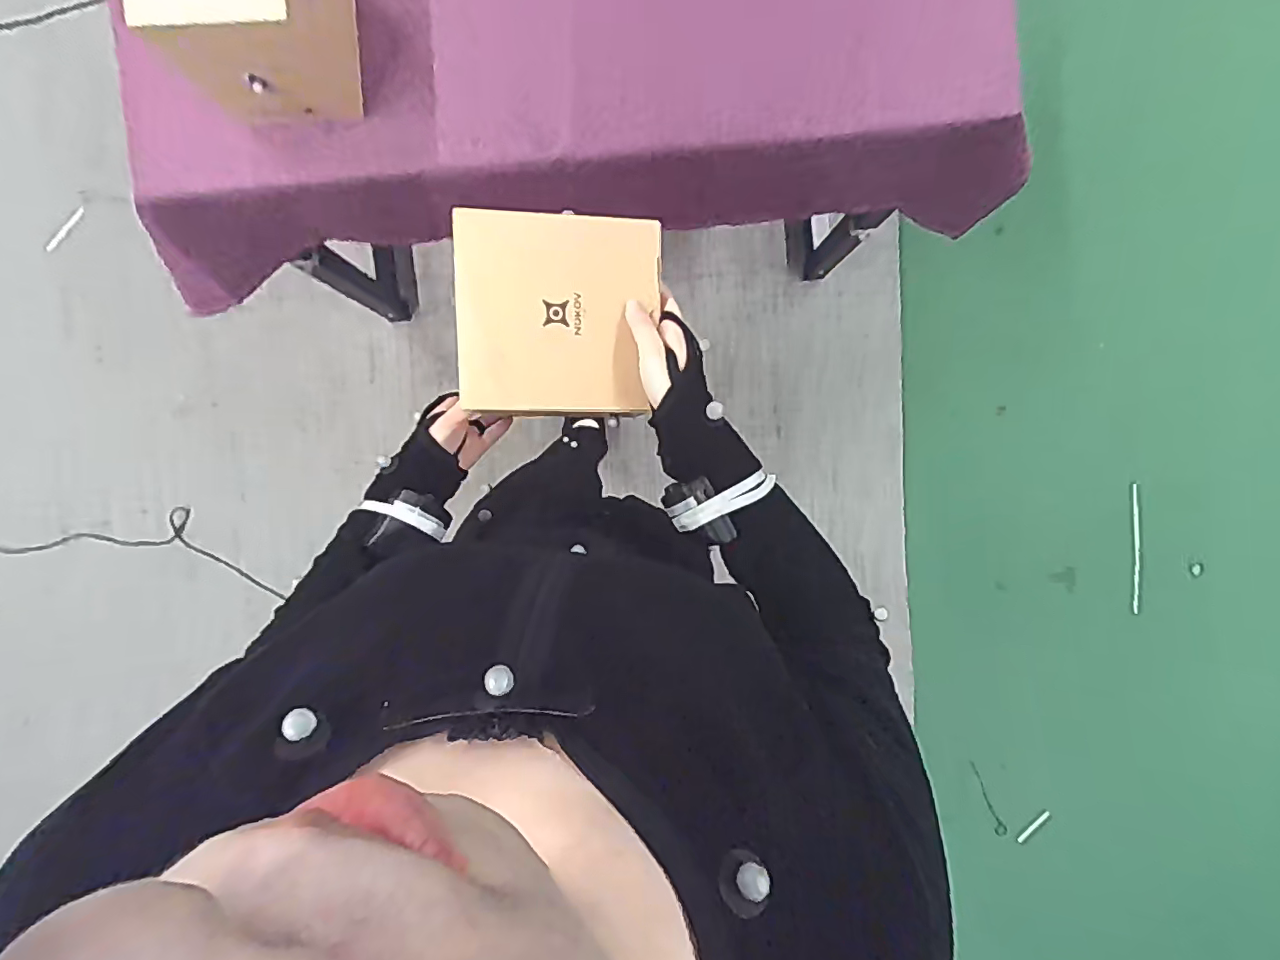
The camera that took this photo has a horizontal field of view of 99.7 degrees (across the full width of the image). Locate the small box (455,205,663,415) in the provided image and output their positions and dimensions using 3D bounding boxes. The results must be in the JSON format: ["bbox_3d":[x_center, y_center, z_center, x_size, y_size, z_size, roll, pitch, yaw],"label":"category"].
[{"bbox_3d":[-0.079,-0.151,0.540,0.179,0.176,0.168,-1,95,-10],"label":"small box"}]

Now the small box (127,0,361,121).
[{"bbox_3d":[-0.449,-0.553,0.635,0.168,0.176,0.179,-3,92,-2],"label":"small box"}]
